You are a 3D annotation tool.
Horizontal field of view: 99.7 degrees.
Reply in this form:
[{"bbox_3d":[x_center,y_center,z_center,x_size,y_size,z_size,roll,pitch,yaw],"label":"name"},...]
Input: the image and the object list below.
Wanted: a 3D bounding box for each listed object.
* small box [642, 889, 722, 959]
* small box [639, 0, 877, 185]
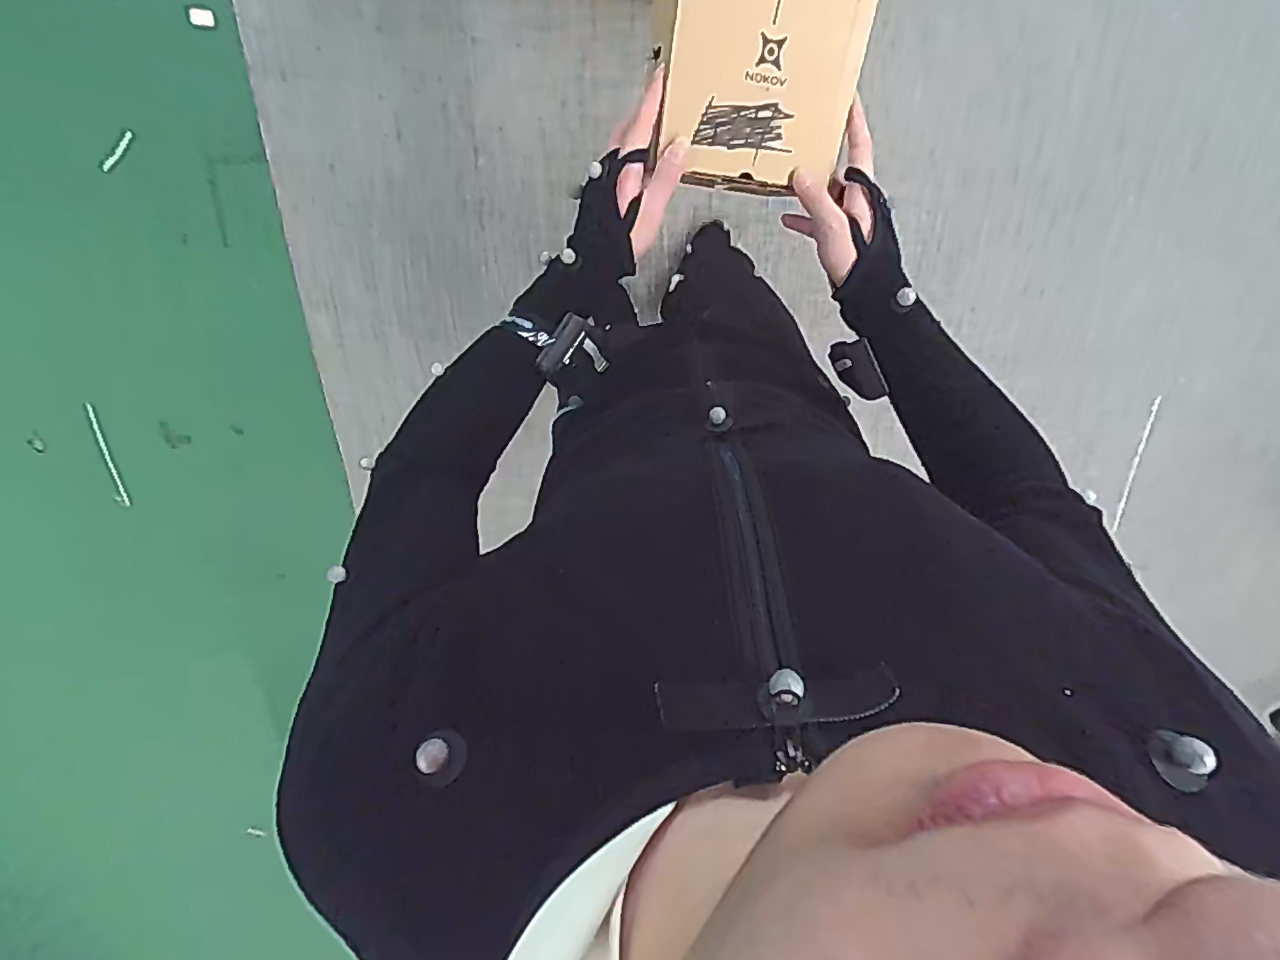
[{"bbox_3d":[0.097,1.103,1.268,0.179,0.176,0.168,-6,113,-1],"label":"small box"},{"bbox_3d":[0.095,-0.389,0.513,0.168,0.176,0.179,4,116,-10],"label":"small box"}]
